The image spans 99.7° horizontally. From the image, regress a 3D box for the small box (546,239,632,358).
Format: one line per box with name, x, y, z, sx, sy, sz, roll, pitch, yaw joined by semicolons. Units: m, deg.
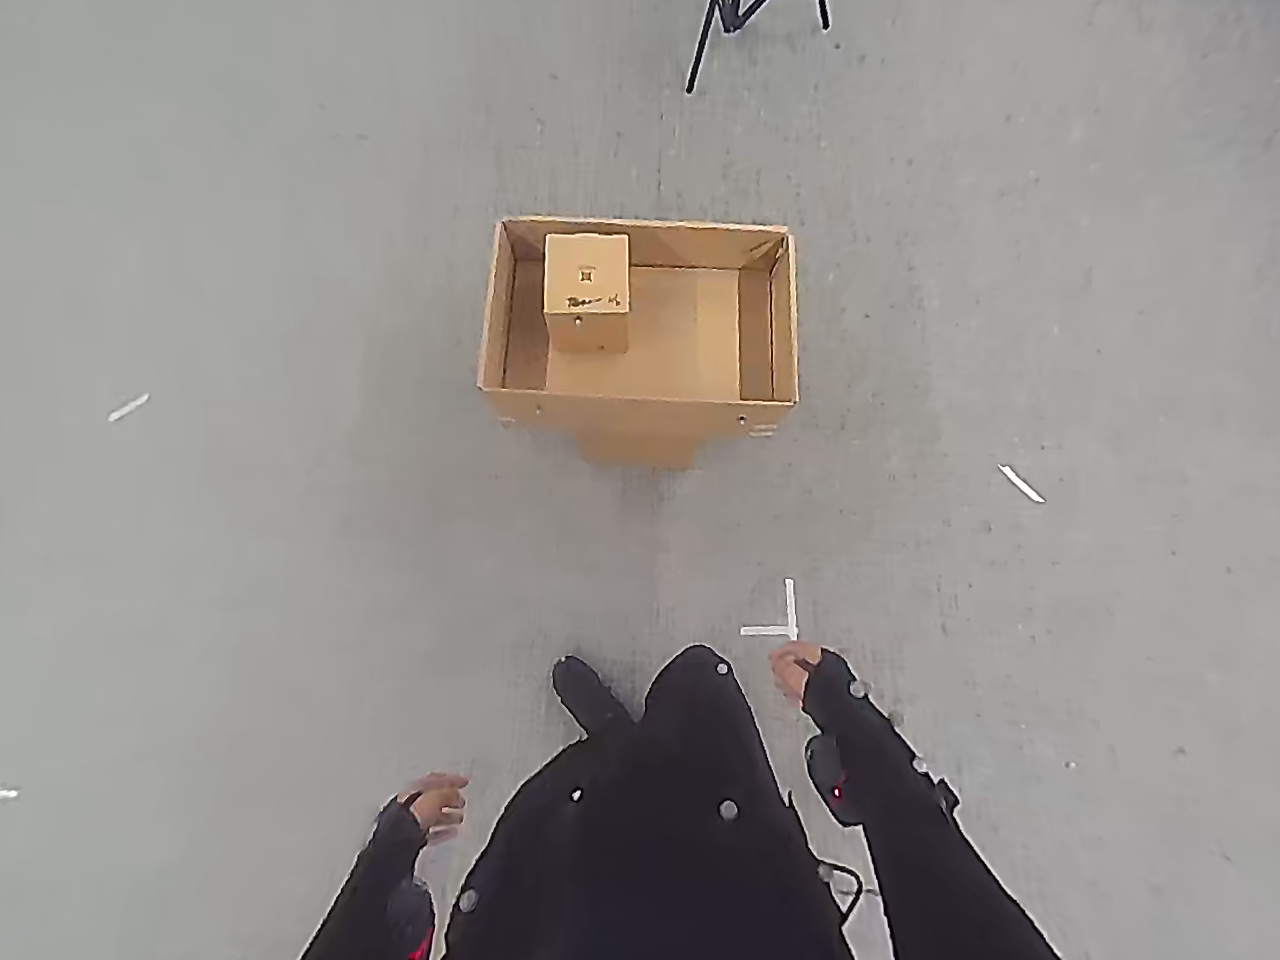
small box;-0.101;-0.376;1.137;0.168;0.176;0.179;0;76;-1
